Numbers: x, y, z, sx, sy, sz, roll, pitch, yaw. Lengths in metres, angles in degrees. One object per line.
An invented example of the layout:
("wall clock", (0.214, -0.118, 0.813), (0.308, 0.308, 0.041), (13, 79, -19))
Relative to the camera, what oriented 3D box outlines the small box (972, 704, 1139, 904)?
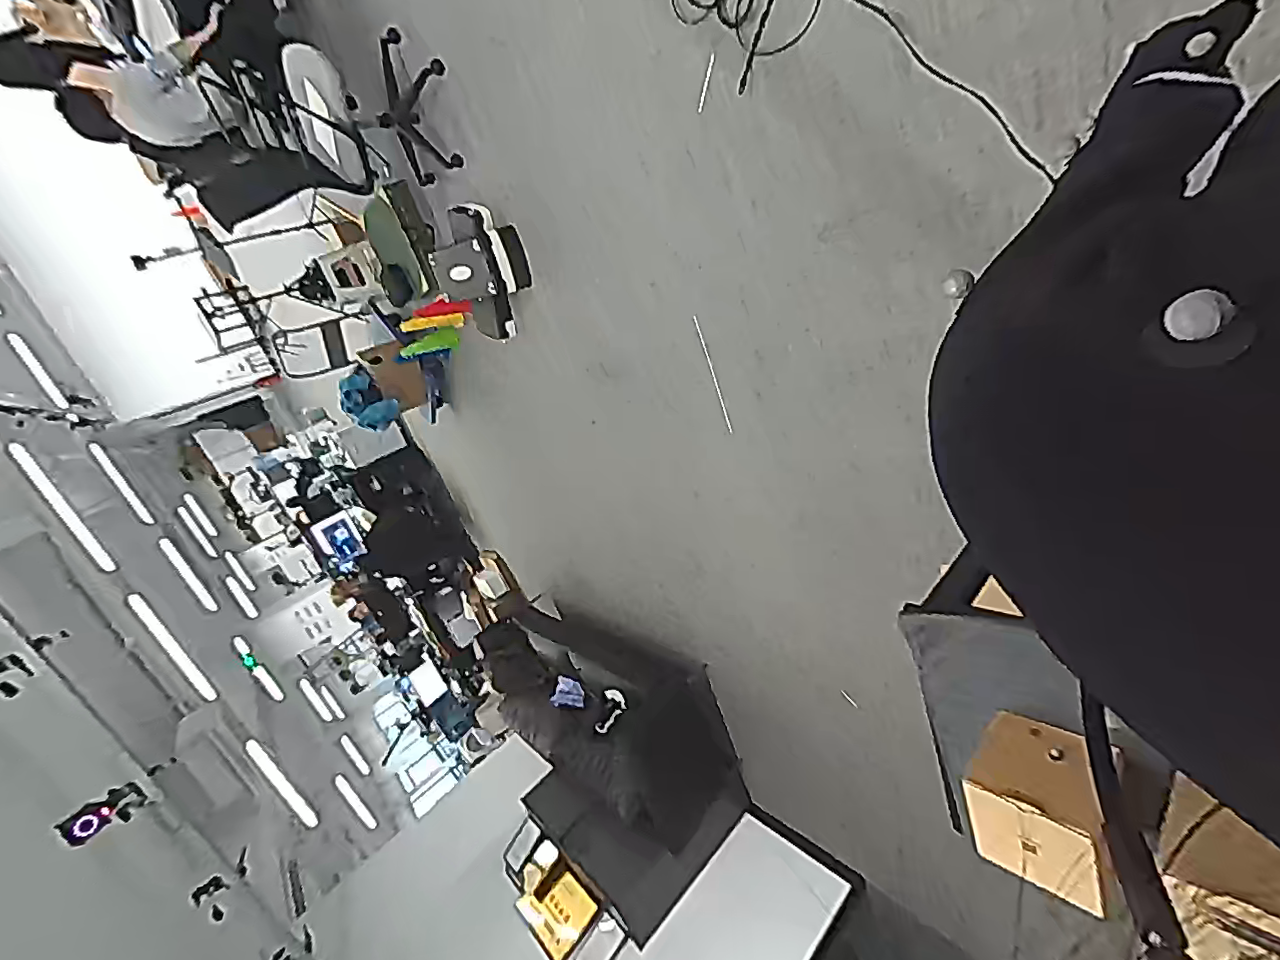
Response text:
("small box", (0.666, 0.502, 0.863), (0.168, 0.176, 0.179), (3, 120, 53))
